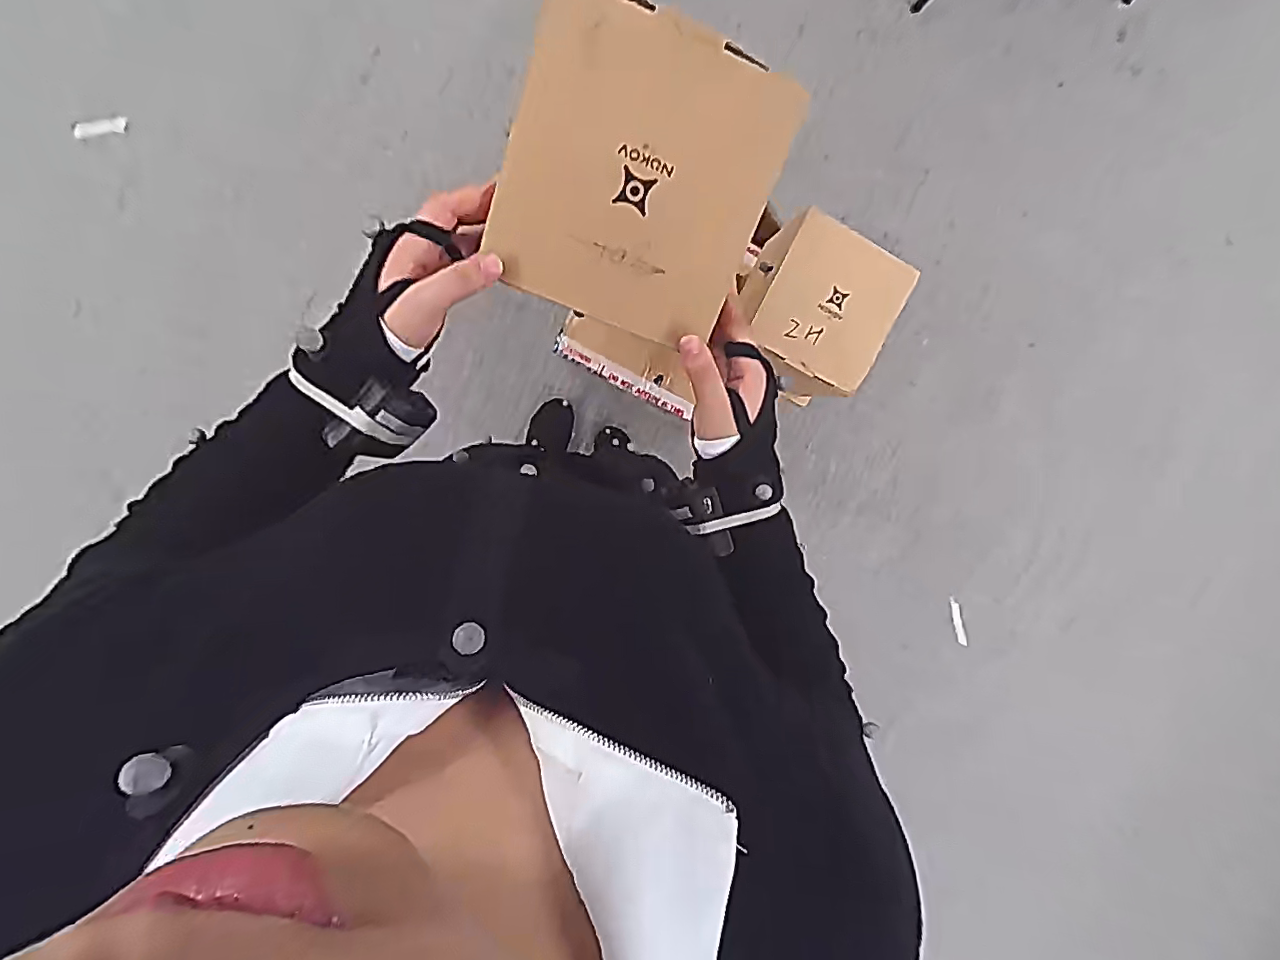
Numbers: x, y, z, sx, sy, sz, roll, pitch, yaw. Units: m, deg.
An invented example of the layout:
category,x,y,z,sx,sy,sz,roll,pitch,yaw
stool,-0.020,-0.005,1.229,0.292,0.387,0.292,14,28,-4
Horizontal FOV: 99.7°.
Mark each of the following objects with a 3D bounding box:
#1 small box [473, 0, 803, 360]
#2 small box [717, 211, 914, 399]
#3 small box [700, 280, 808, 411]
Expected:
category,x,y,z,sx,sy,sz,roll,pitch,yaw
small box,-0.010,-0.217,0.416,0.168,0.176,0.179,19,111,-11
small box,0.226,-0.227,0.748,0.168,0.176,0.179,27,96,-9
small box,0.219,-0.236,0.914,0.168,0.176,0.179,29,96,-10
